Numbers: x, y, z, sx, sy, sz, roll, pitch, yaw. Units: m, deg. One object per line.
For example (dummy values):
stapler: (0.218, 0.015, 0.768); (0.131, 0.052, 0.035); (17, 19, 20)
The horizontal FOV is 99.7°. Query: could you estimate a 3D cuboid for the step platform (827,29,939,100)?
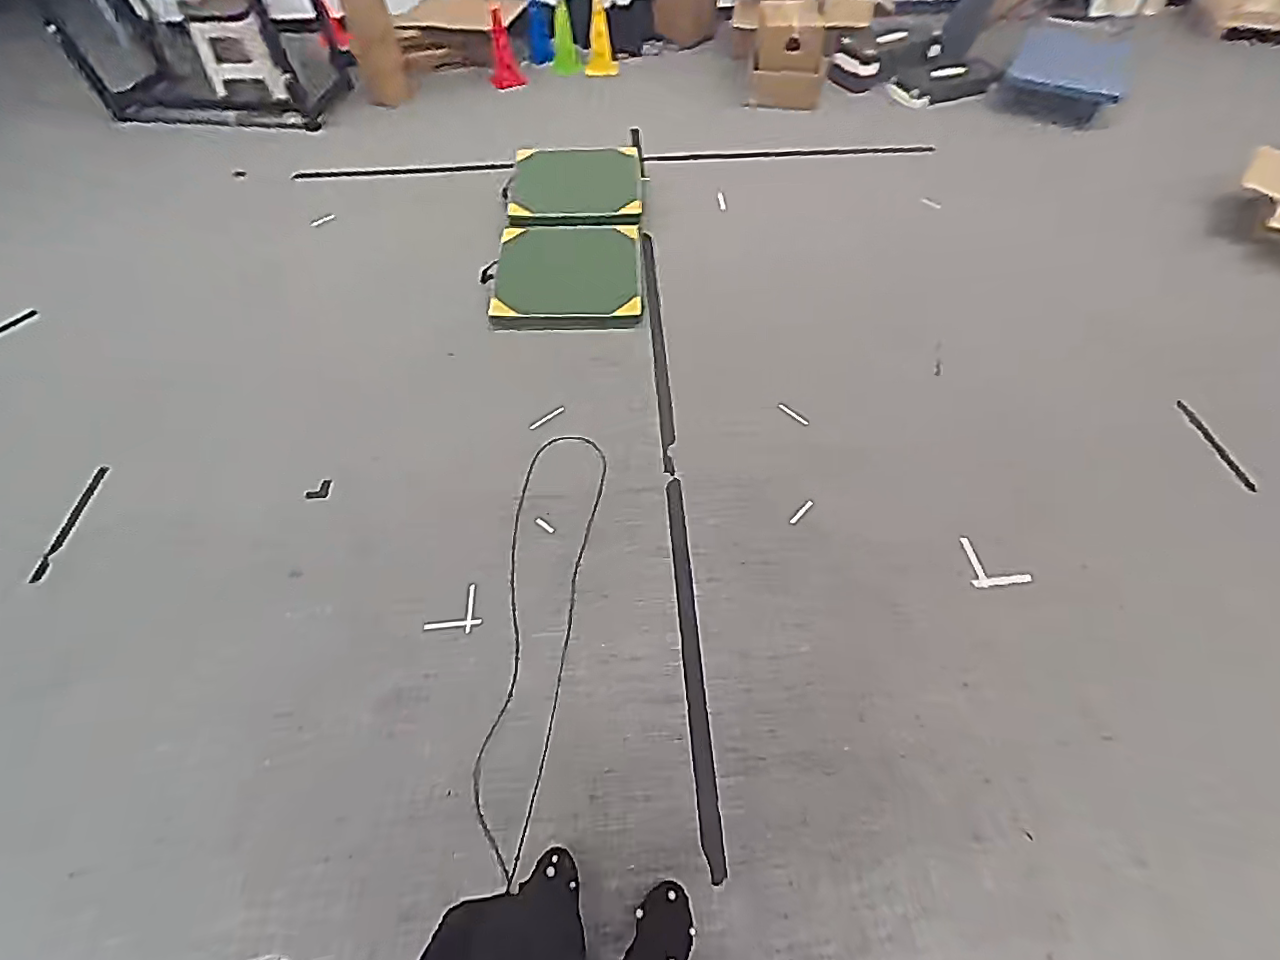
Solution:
step platform: (1.508, -2.584, 3.351); (0.684, 0.204, 0.286); (-28, 61, -17)
